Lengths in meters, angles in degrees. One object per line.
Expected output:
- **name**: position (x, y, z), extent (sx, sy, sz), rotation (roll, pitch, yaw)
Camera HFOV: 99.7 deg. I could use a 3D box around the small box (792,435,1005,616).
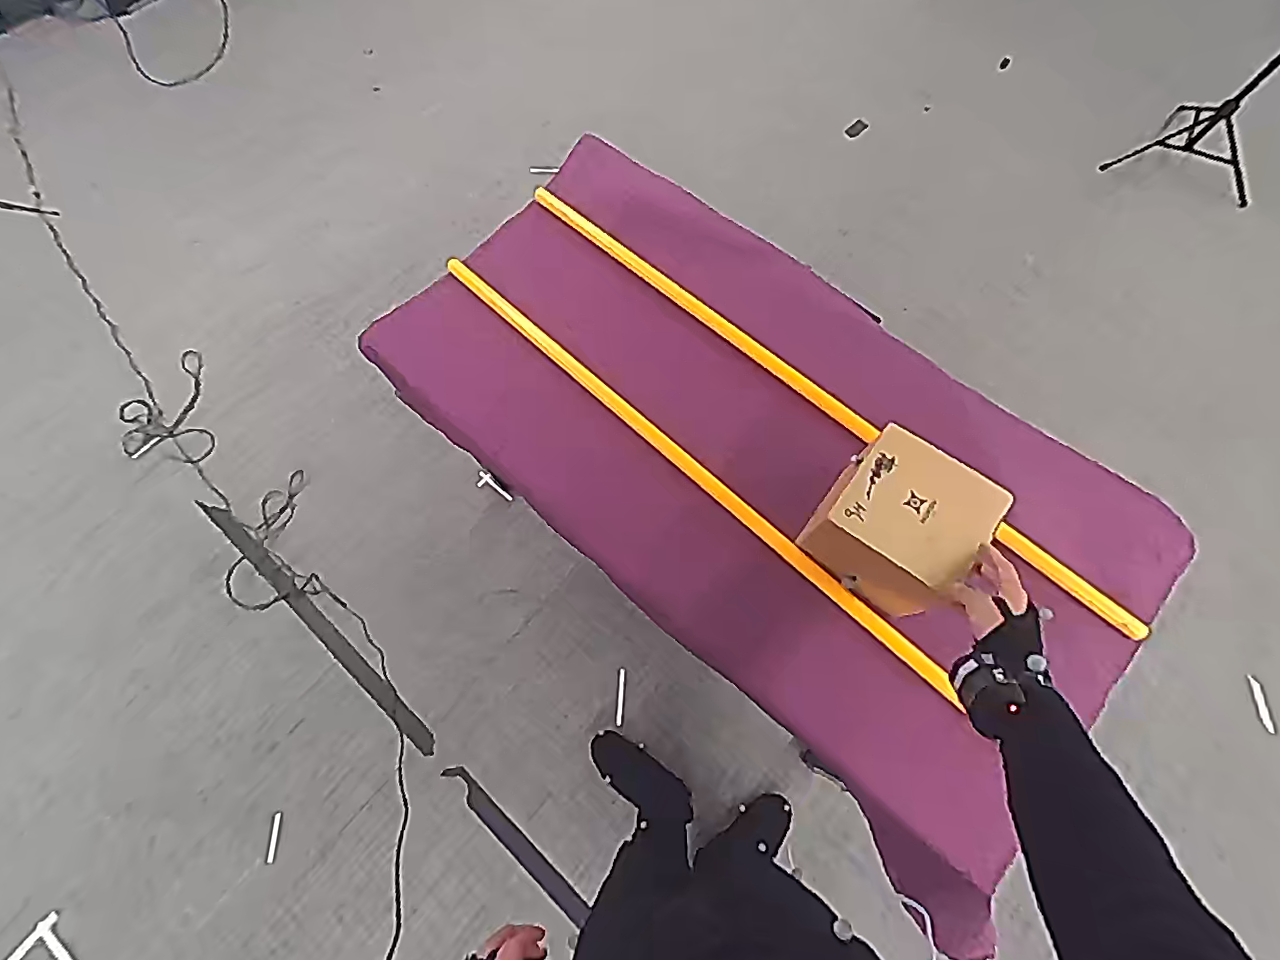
- **small box**: position (0.343, 0.073, 0.750), extent (0.179, 0.176, 0.168), rotation (36, 75, 12)
